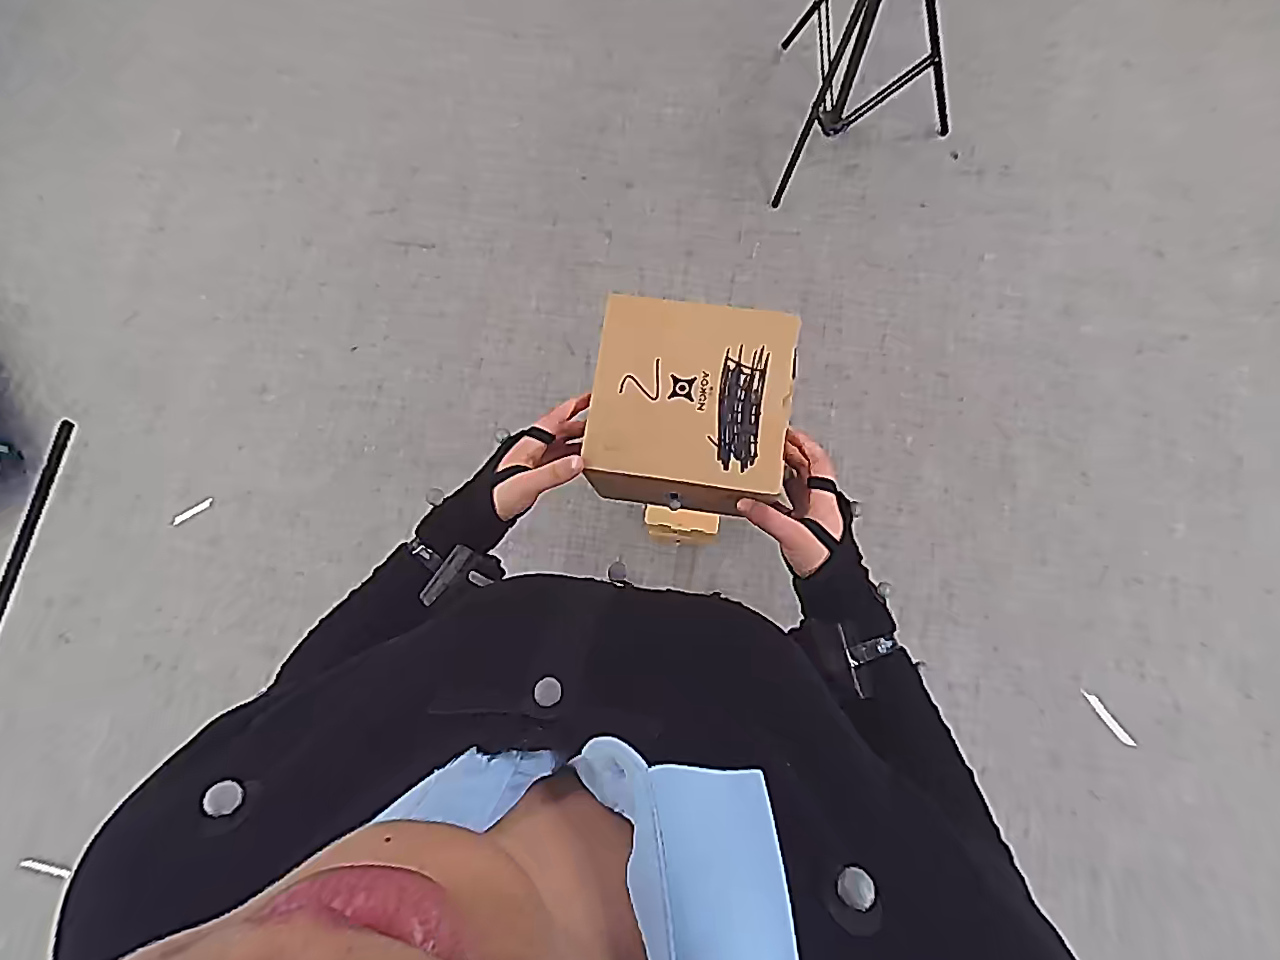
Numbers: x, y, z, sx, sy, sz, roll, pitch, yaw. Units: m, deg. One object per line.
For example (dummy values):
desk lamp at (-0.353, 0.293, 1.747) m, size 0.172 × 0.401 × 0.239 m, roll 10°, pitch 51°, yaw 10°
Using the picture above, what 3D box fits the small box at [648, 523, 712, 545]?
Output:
small box at (0.118, 0.077, 1.450) m, size 0.168 × 0.176 × 0.179 m, roll 6°, pitch 79°, yaw 5°

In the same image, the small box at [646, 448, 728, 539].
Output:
small box at (0.111, 0.038, 1.292) m, size 0.168 × 0.176 × 0.179 m, roll 8°, pitch 81°, yaw 6°
